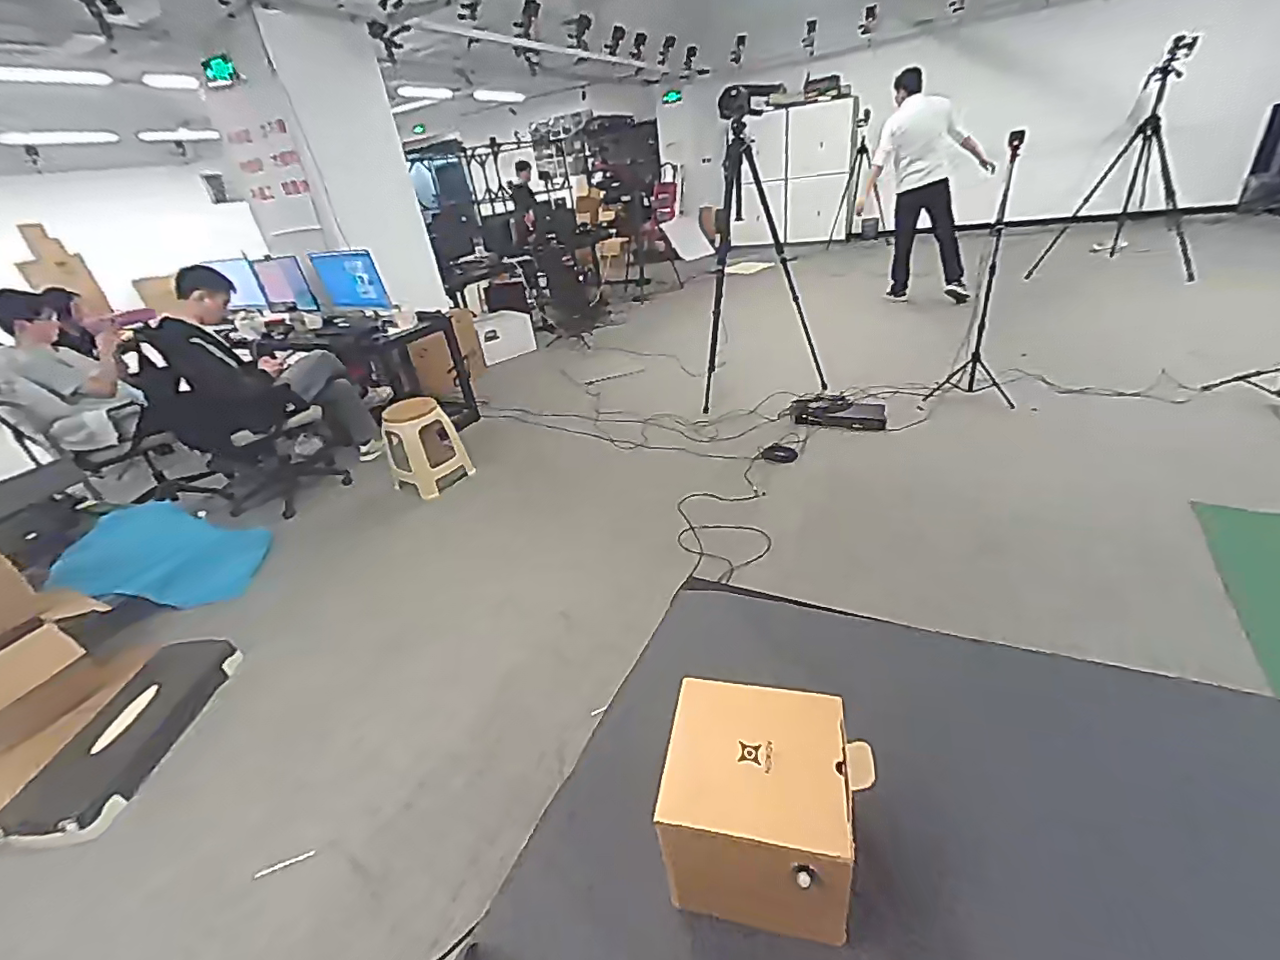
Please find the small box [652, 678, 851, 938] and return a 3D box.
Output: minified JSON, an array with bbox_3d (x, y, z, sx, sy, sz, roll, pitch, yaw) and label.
[{"bbox_3d":[0.122,0.342,0.577,0.179,0.176,0.168,2,30,15],"label":"small box"}]
